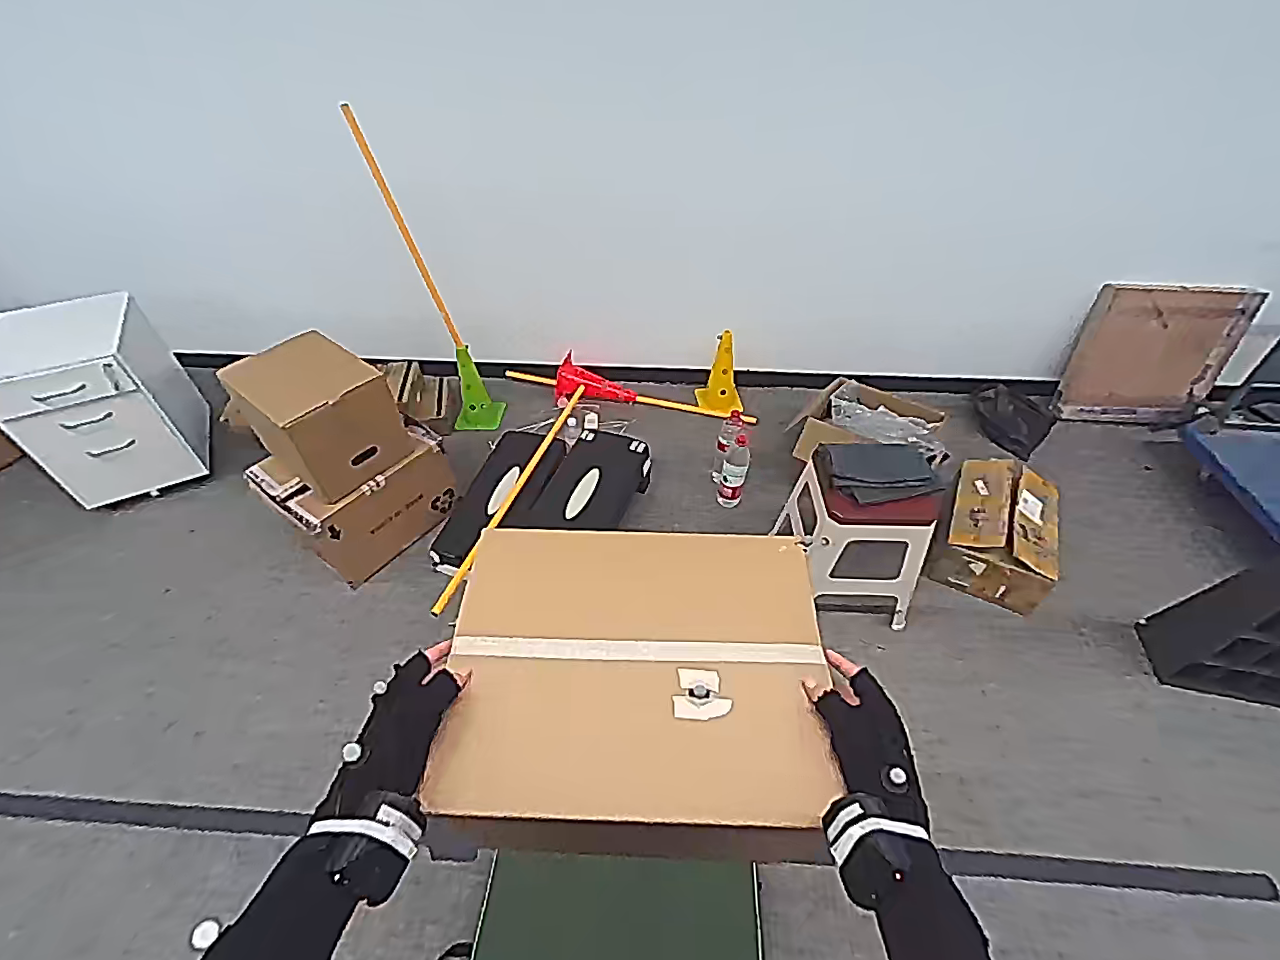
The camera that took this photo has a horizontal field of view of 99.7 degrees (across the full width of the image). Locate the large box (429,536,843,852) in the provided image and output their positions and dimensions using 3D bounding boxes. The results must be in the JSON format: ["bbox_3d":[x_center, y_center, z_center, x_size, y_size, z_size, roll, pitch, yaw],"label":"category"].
[{"bbox_3d":[-0.004,0.290,0.718,0.408,0.320,0.320,2,50,1],"label":"large box"}]
